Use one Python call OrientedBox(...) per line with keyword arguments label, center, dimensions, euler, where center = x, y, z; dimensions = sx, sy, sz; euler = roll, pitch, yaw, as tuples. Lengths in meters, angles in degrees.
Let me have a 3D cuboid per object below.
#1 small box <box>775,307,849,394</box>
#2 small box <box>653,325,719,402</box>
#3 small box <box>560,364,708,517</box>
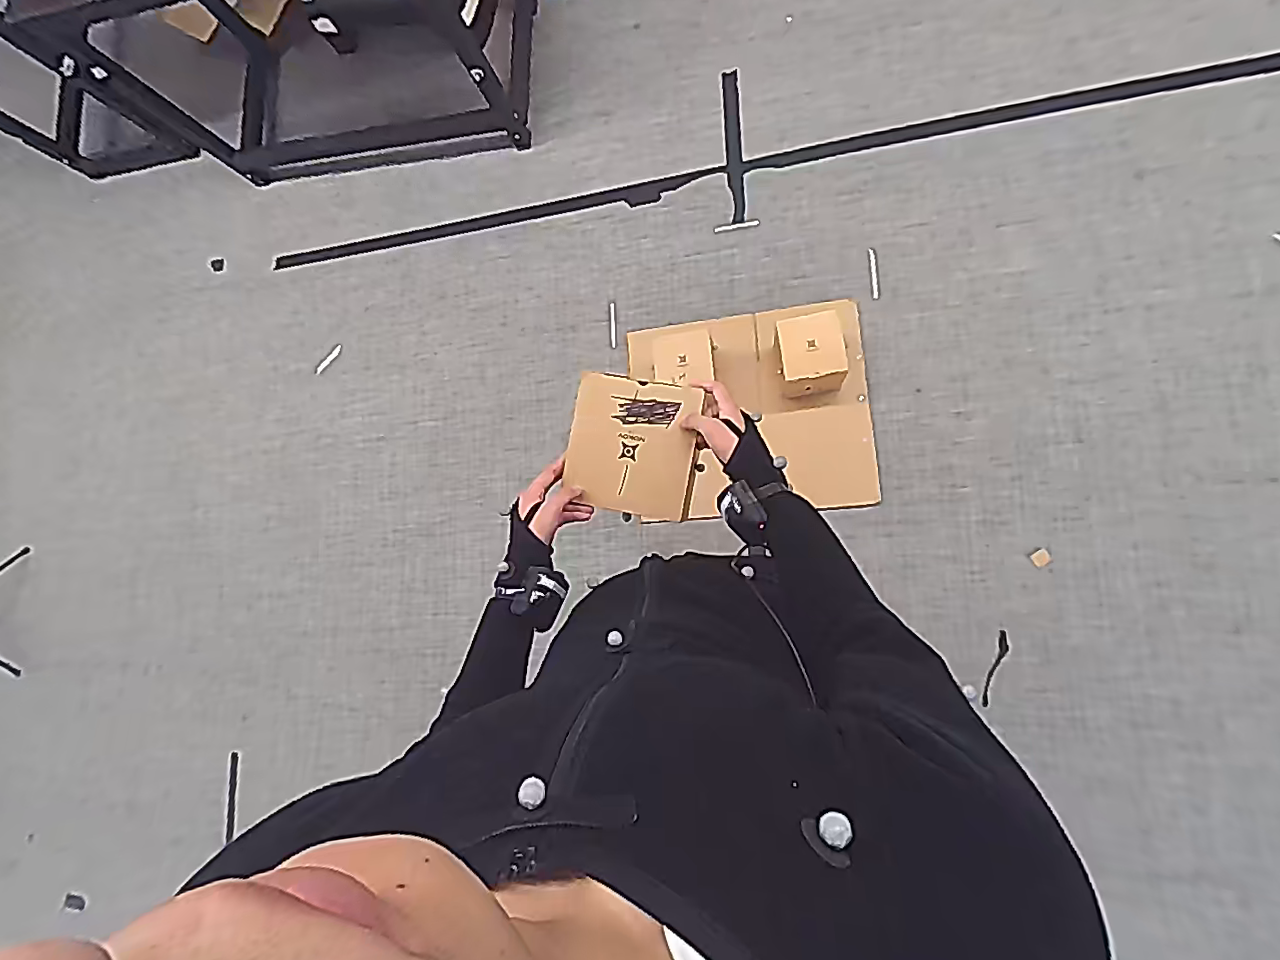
OrientedBox(label="small box", center=(0.475, -0.357, 1.517), dimensions=(0.168, 0.176, 0.179), euler=(-9, 83, 12))
OrientedBox(label="small box", center=(0.139, -0.329, 1.583), dimensions=(0.168, 0.176, 0.179), euler=(-6, 84, 13))
OrientedBox(label="small box", center=(0.000, -0.048, 0.773), dimensions=(0.168, 0.176, 0.179), euler=(11, 89, 8))
